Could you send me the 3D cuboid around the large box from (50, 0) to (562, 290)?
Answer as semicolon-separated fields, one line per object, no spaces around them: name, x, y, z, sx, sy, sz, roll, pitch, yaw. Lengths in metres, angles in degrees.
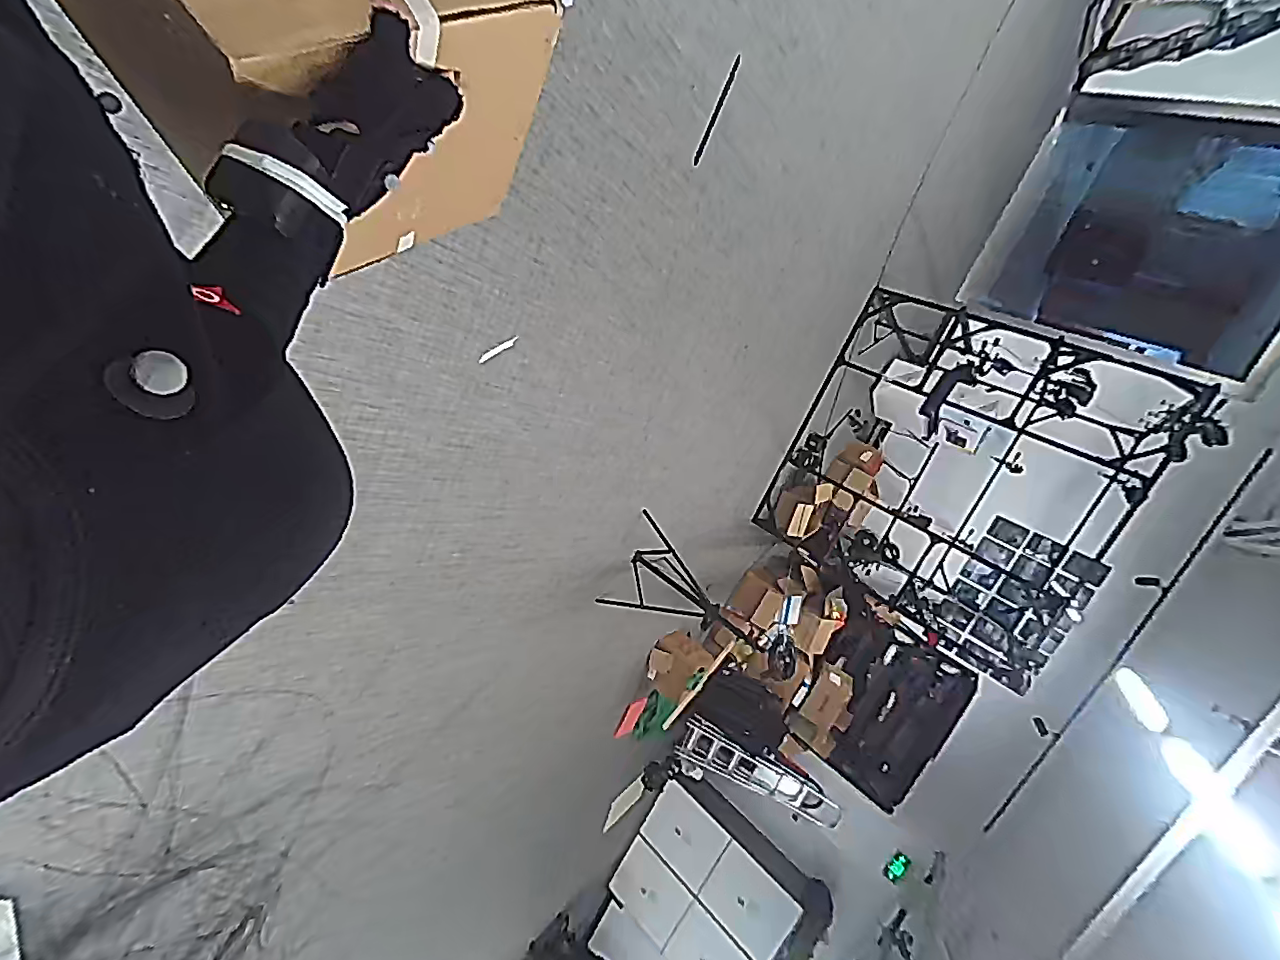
large box;-0.361;-0.491;0.556;0.320;0.408;0.320;-40;-172;-28
